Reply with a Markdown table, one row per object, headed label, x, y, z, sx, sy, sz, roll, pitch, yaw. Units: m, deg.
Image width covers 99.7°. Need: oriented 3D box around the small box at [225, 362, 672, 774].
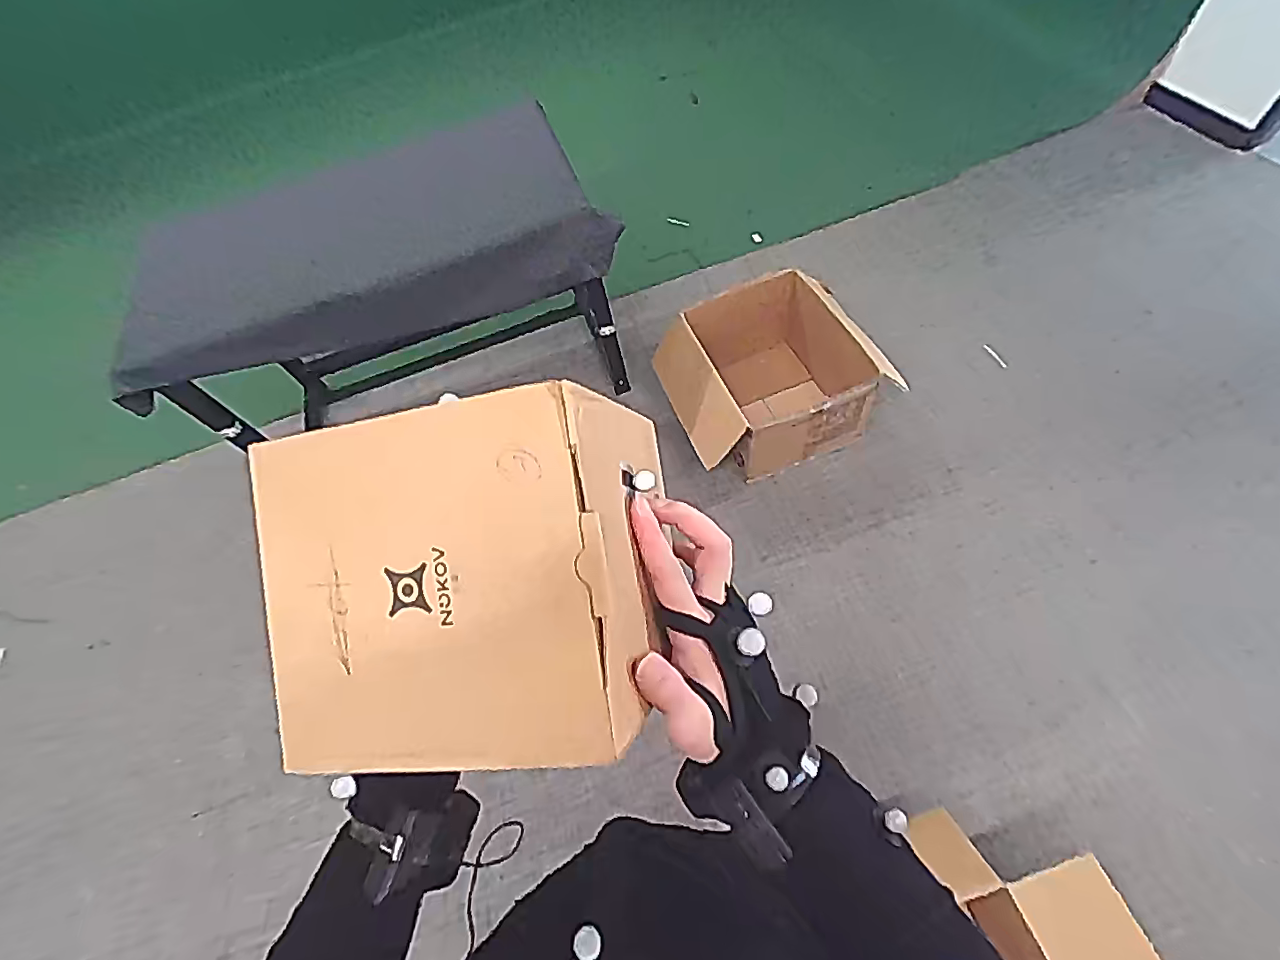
| label | x | y | z | sx | sy | sz | roll | pitch | yaw |
| --- | --- | --- | --- | --- | --- | --- | --- | --- | --- |
| small box | -0.085 | 0.044 | 0.312 | 0.179 | 0.176 | 0.168 | -10 | 86 | 15 |
